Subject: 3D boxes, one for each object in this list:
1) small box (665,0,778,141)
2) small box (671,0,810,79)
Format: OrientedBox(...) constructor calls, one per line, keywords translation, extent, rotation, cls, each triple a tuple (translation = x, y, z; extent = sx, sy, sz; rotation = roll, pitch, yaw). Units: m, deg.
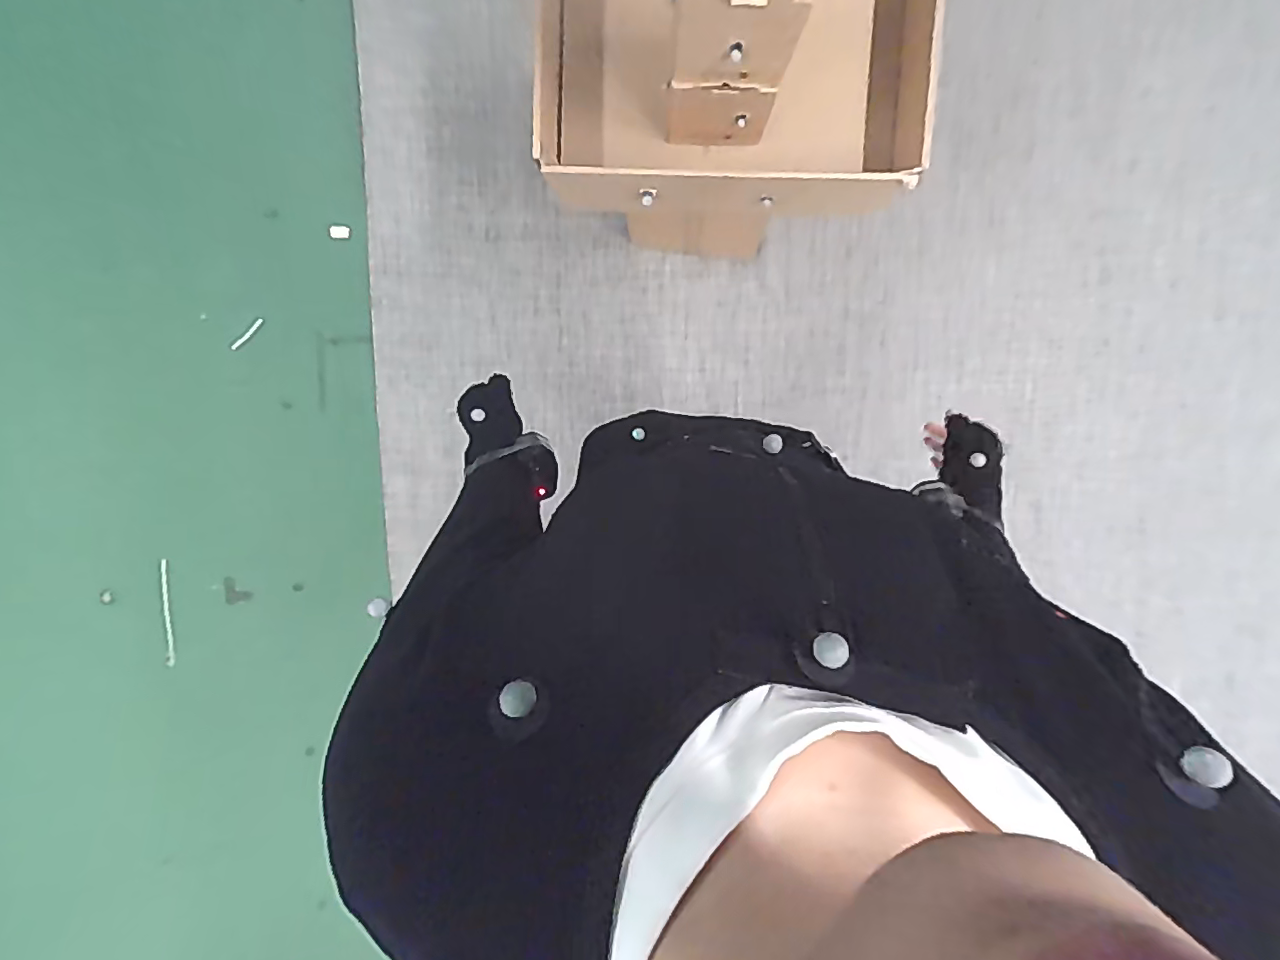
OrientedBox(translation=(0.128, -0.683, 0.882), extent=(0.168, 0.176, 0.179), rotation=(1, 95, 0), cls="small box")
OrientedBox(translation=(0.129, -0.673, 0.718), extent=(0.168, 0.176, 0.179), rotation=(1, 98, 0), cls="small box")
